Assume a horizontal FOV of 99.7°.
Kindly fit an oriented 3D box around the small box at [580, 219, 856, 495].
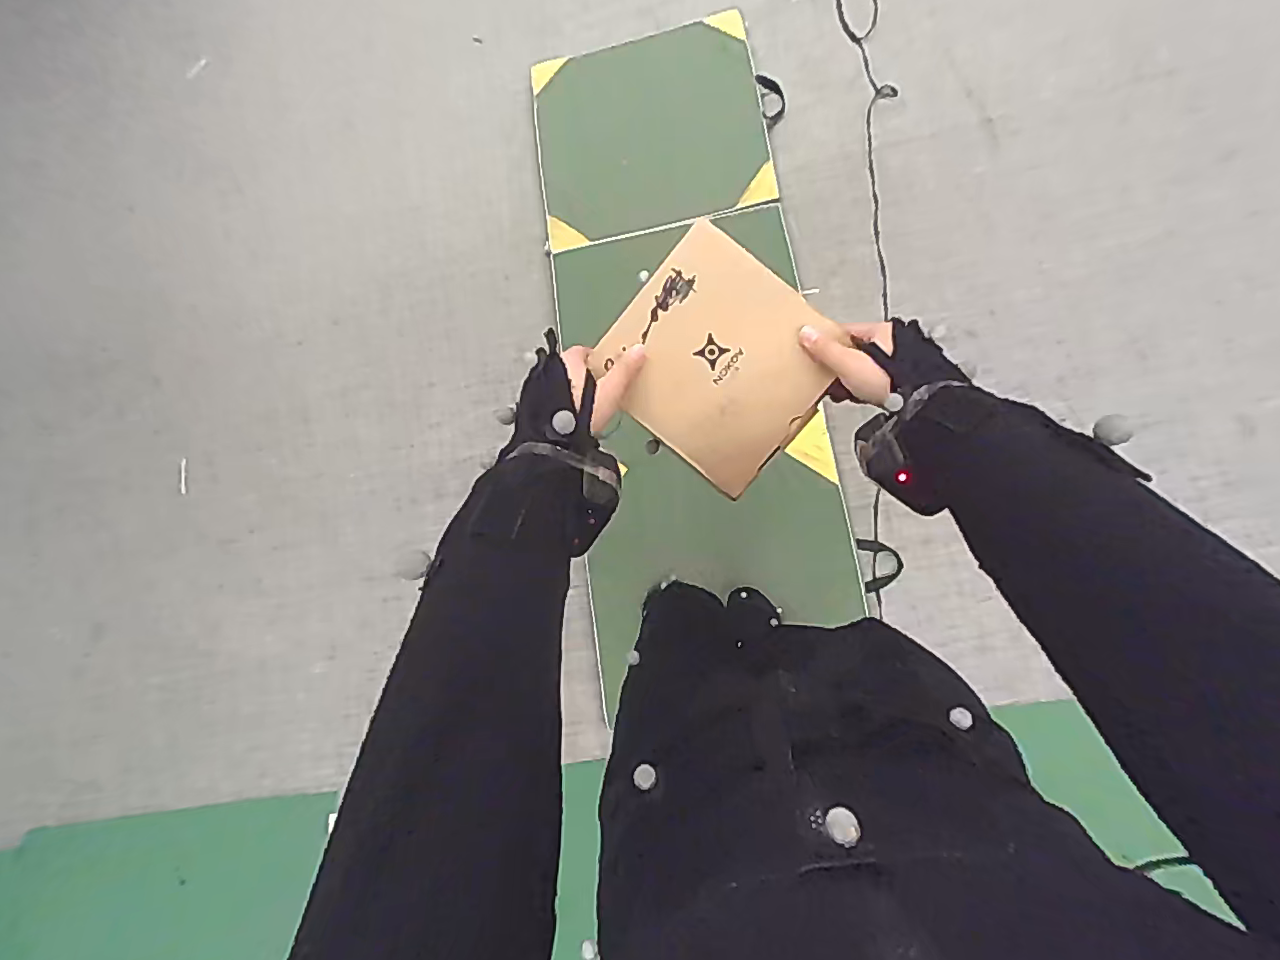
[{"bbox_3d":[0.068,-0.108,0.534,0.179,0.176,0.168,40,93,0],"label":"small box"}]
